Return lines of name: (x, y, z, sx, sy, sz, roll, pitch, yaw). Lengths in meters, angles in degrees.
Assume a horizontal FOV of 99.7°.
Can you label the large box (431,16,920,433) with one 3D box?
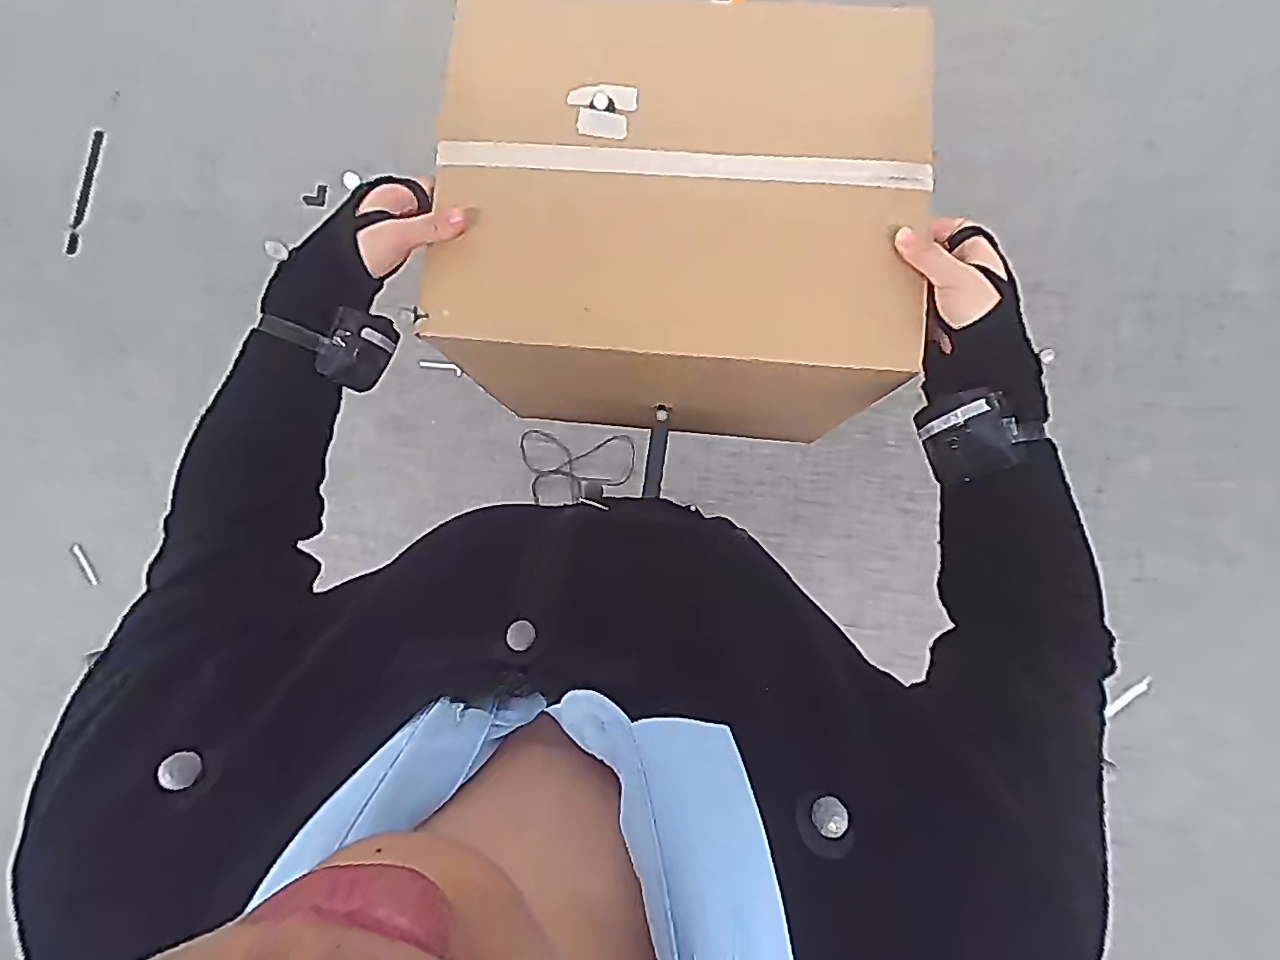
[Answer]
large box: (0.042, -0.238, 0.604, 0.408, 0.320, 0.320, 4, 82, 4)
